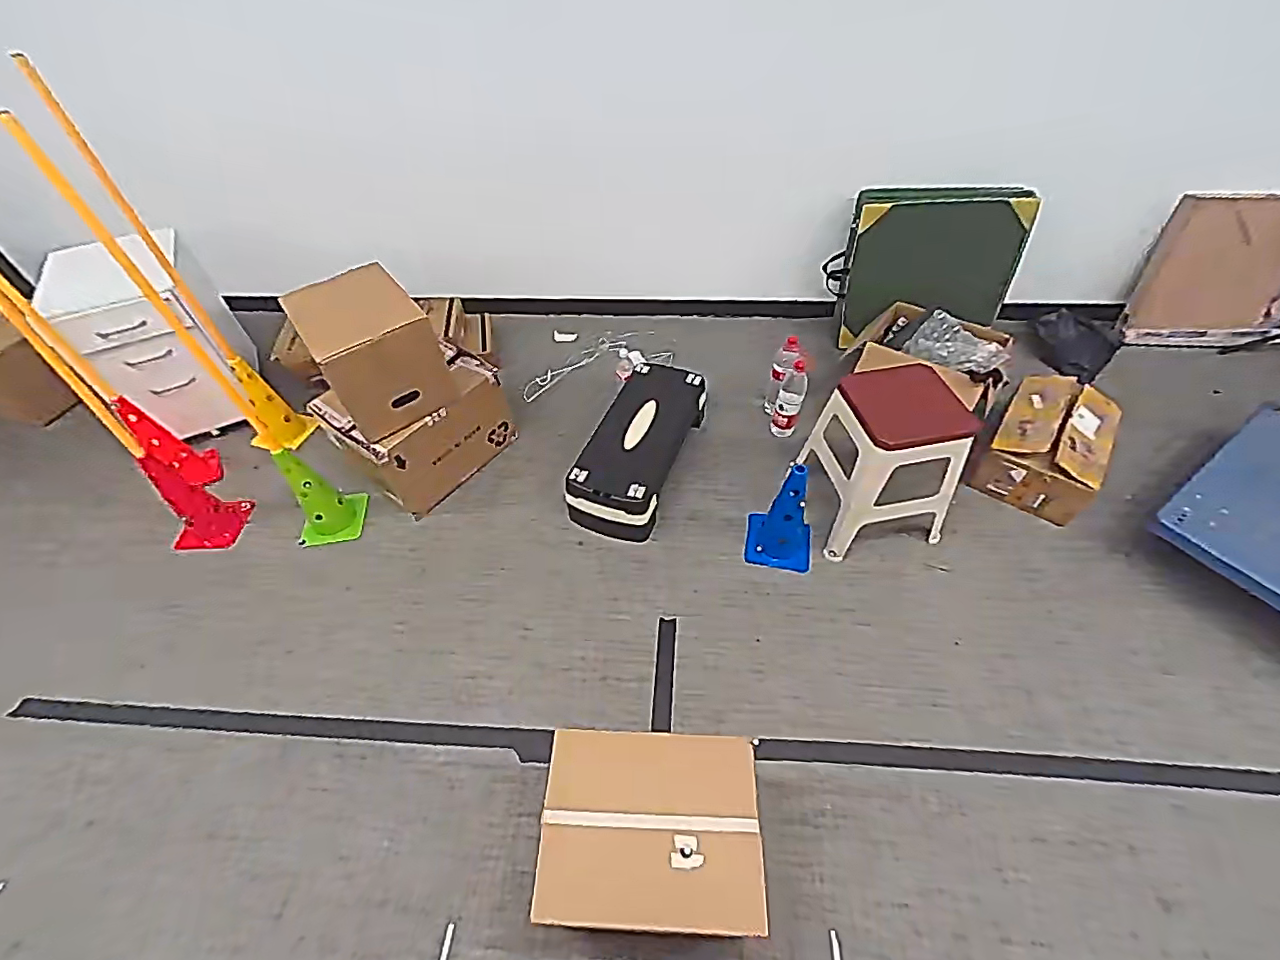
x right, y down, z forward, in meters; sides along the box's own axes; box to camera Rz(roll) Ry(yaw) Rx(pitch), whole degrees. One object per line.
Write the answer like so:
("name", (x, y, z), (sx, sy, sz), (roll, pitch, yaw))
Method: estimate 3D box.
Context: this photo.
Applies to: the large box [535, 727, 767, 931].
("large box", (0.022, 0.727, 1.121), (0.408, 0.320, 0.320), (2, 50, 2))
